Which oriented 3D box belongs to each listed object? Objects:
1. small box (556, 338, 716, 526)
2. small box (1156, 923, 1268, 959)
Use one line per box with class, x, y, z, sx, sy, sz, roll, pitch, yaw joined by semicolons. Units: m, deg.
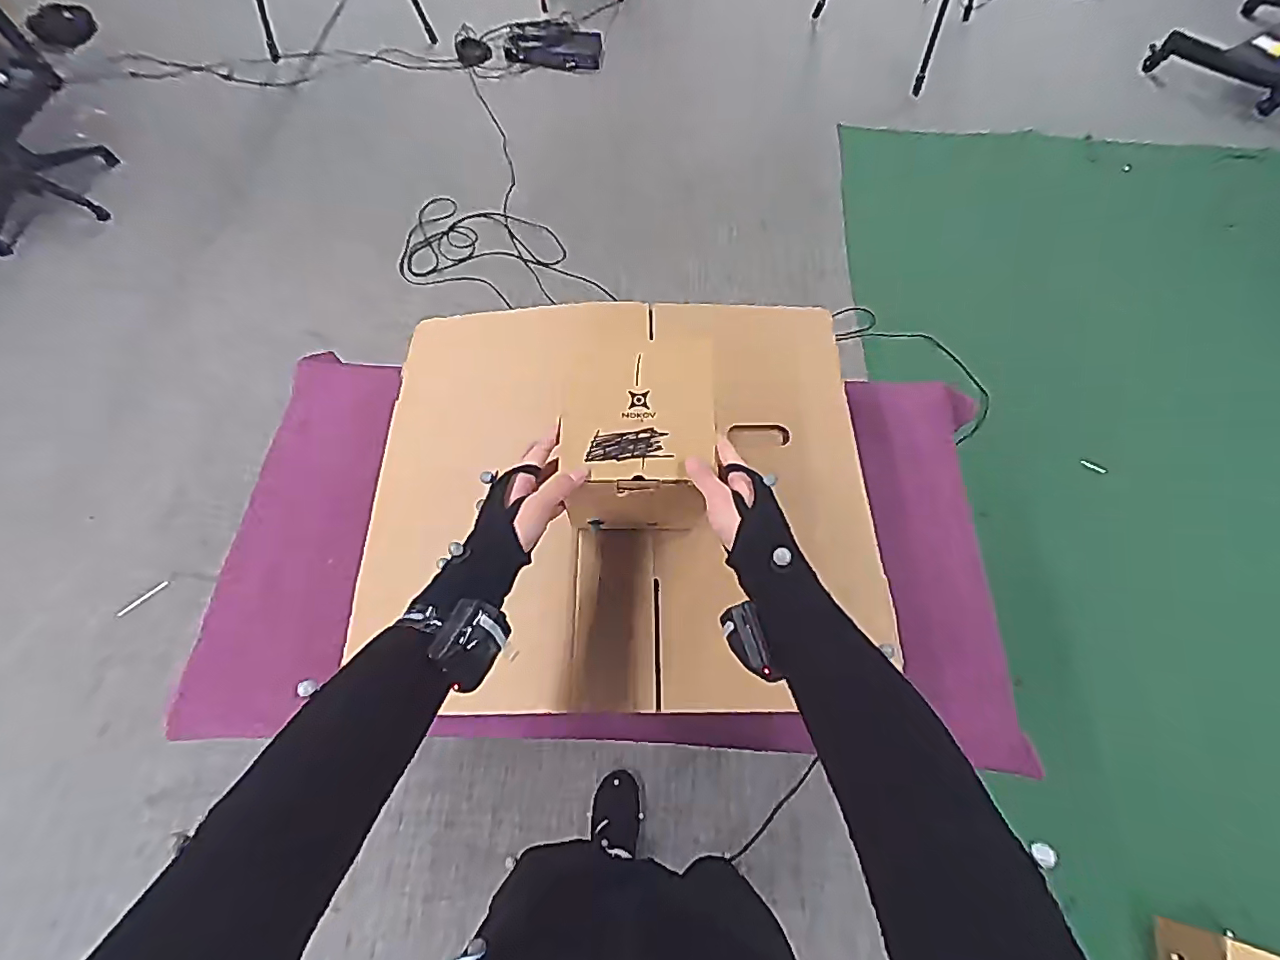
small box;-0.004;-0.049;0.650;0.168;0.176;0.179;1;67;-2
small box;1.253;1.078;1.137;0.179;0.176;0.168;16;65;9
